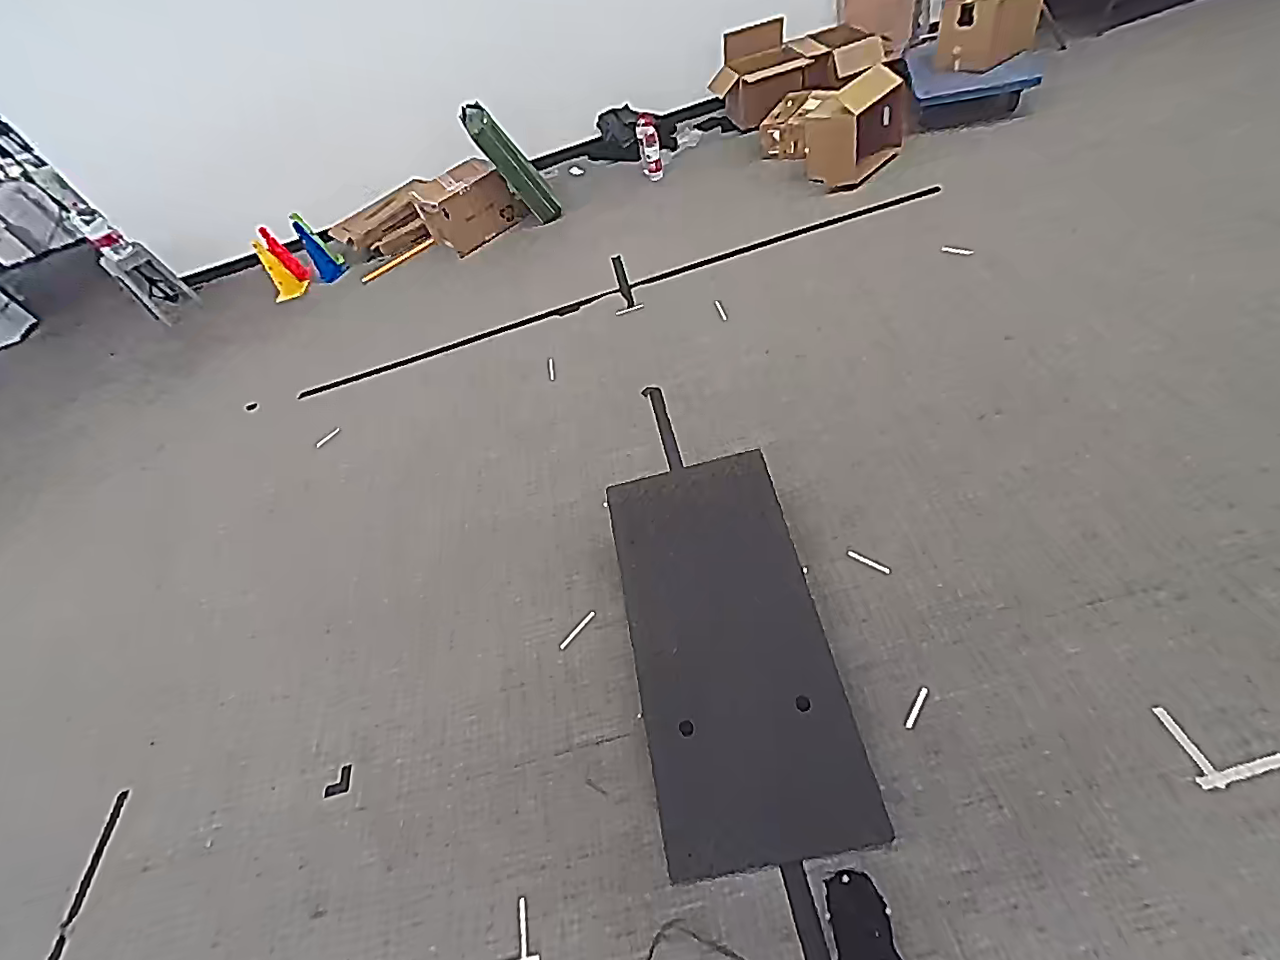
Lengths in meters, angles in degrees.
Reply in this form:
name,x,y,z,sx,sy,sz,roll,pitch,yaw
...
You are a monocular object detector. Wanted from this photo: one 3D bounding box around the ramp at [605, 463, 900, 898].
name,x,y,z,sx,sy,sz,roll,pitch,yaw
ramp,0.225,0.427,1.411,0.509,0.206,0.991,-17,48,3
